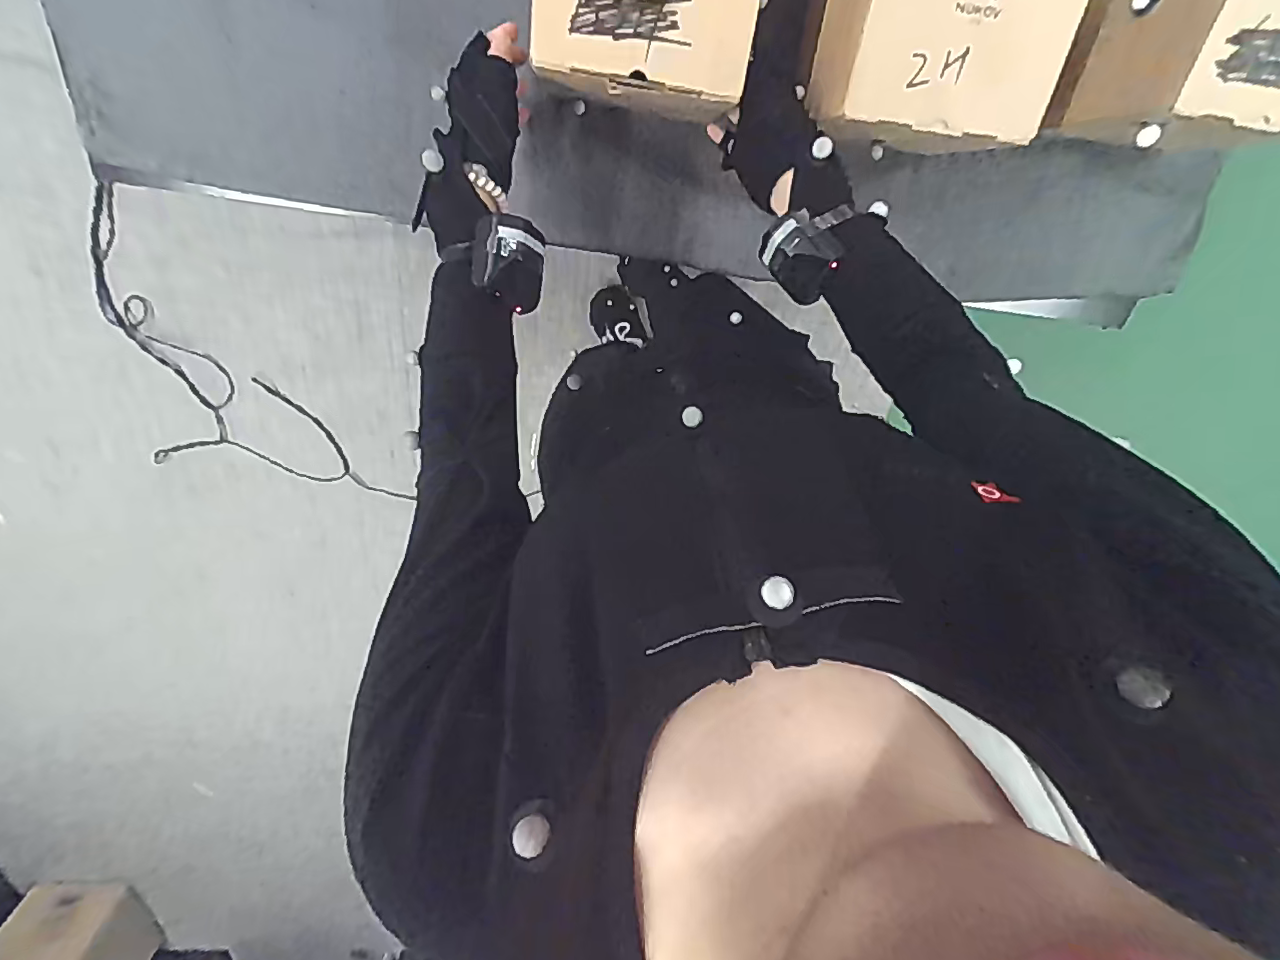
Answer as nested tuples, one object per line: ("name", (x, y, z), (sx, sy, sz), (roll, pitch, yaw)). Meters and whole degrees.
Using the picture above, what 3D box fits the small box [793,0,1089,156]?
("small box", (0.249, -0.396, 0.470), (0.168, 0.176, 0.179), (4, 118, -5))
